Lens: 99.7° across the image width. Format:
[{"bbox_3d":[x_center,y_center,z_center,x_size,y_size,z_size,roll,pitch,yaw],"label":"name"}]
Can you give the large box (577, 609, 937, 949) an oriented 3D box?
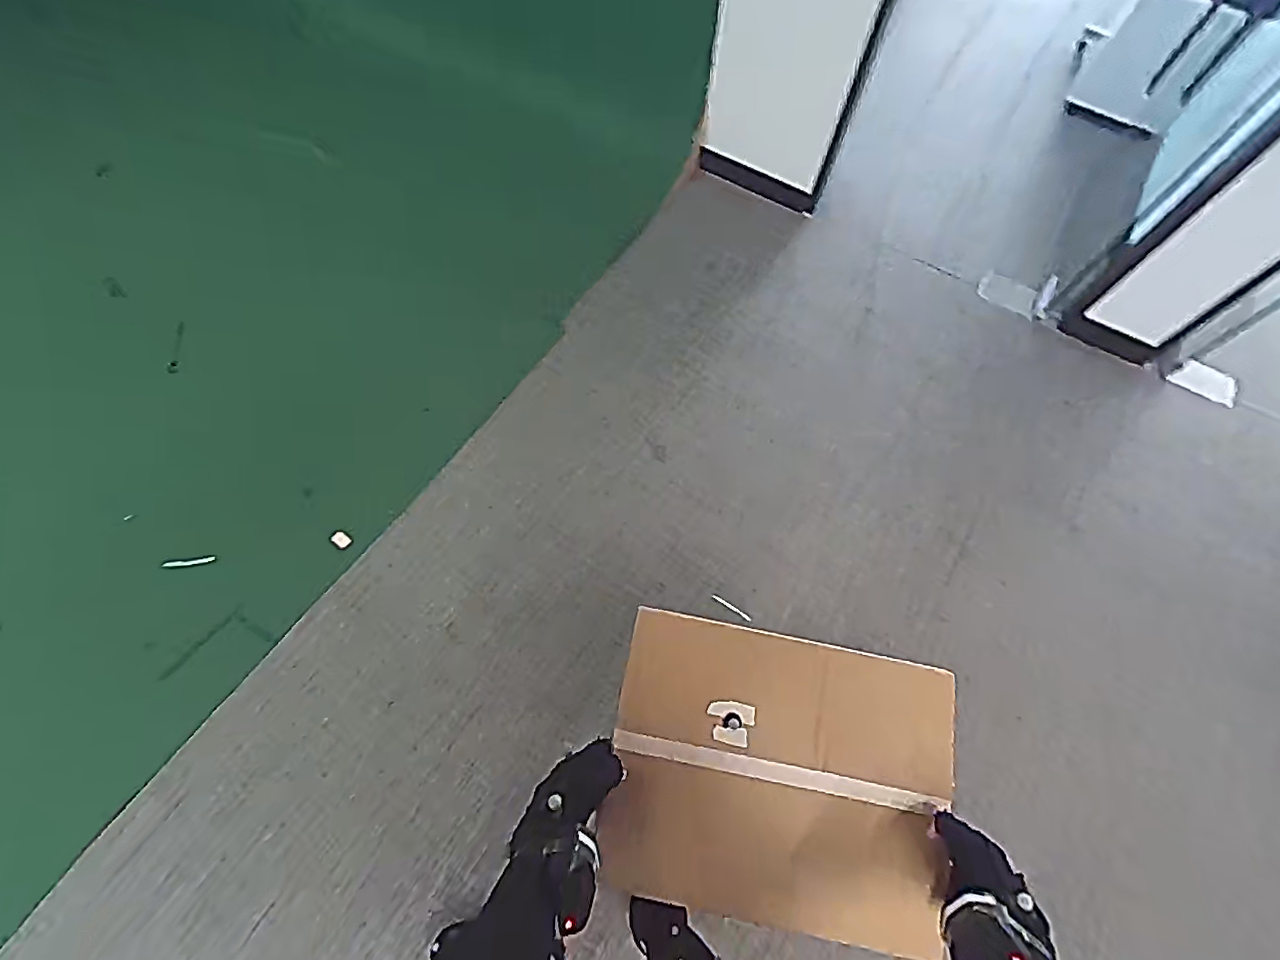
[{"bbox_3d":[0.152,0.381,0.786,0.408,0.320,0.320,10,74,3],"label":"large box"}]
